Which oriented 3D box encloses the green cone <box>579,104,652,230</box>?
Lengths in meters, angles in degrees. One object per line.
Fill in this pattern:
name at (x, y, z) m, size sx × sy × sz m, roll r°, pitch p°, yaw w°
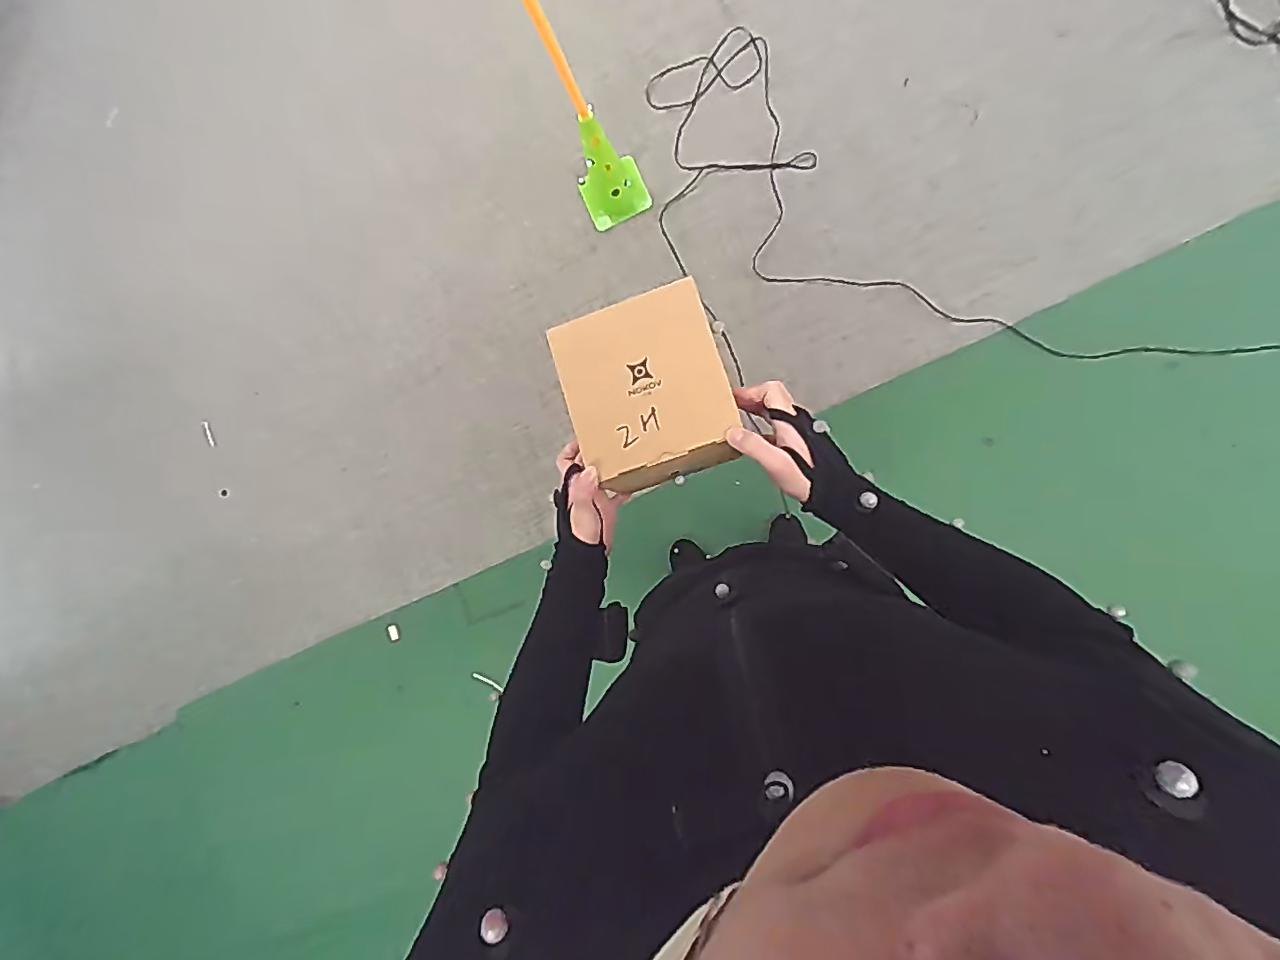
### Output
green cone at (-0.107, -0.939, 1.576) m, size 0.202 × 0.368 × 0.200 m, roll -24°, pitch 83°, yaw 6°
